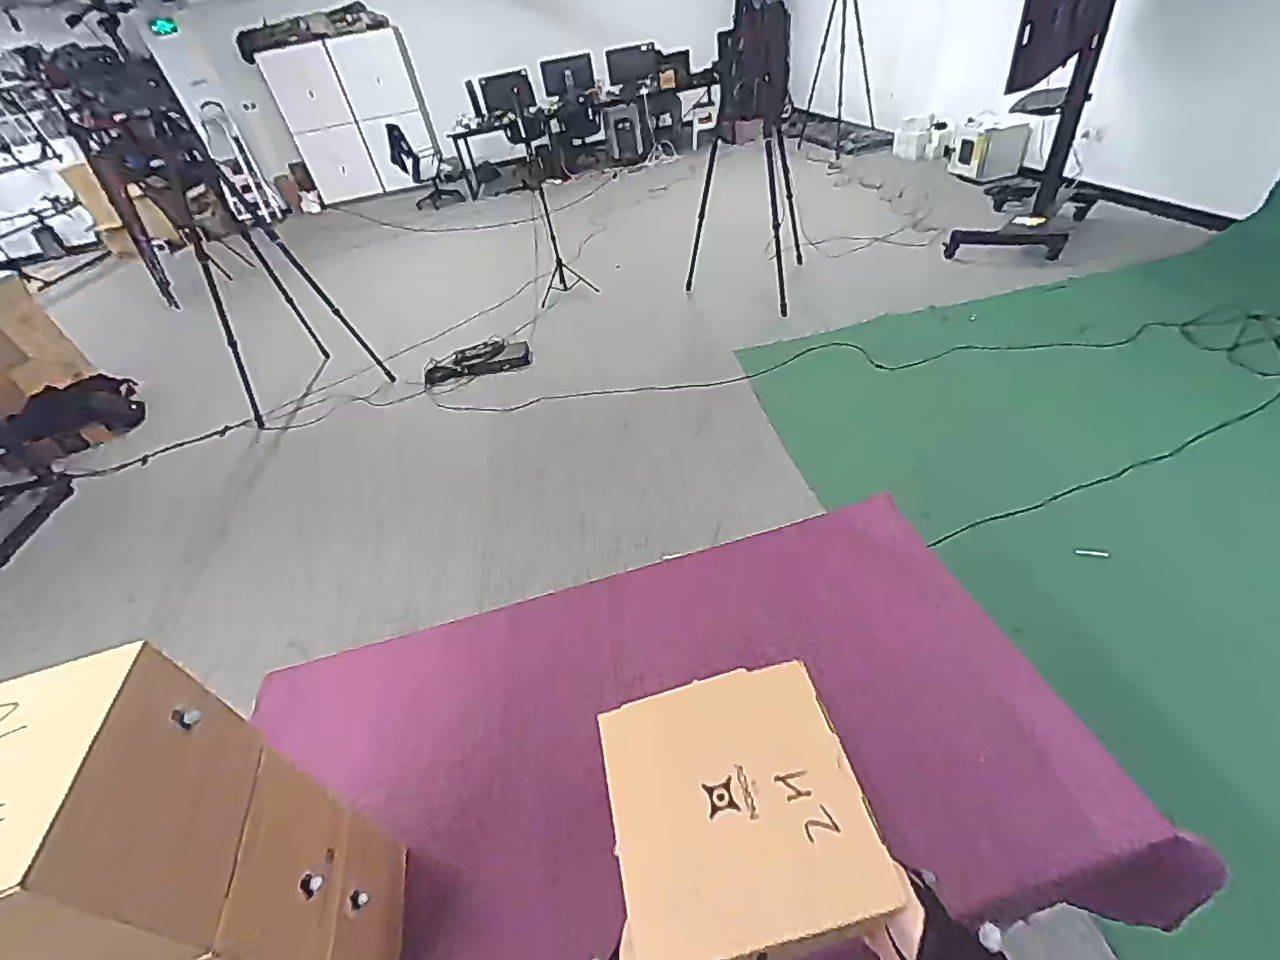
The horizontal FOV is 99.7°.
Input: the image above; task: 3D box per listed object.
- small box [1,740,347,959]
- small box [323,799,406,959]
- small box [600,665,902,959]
[{"bbox_3d":[-0.413,0.386,0.509,0.179,0.176,0.168,-16,41,-8],"label":"small box"},{"bbox_3d":[-0.385,0.506,0.614,0.168,0.176,0.179,-15,40,-6],"label":"small box"},{"bbox_3d":[0.077,0.282,0.441,0.179,0.176,0.168,-14,46,-2],"label":"small box"}]
